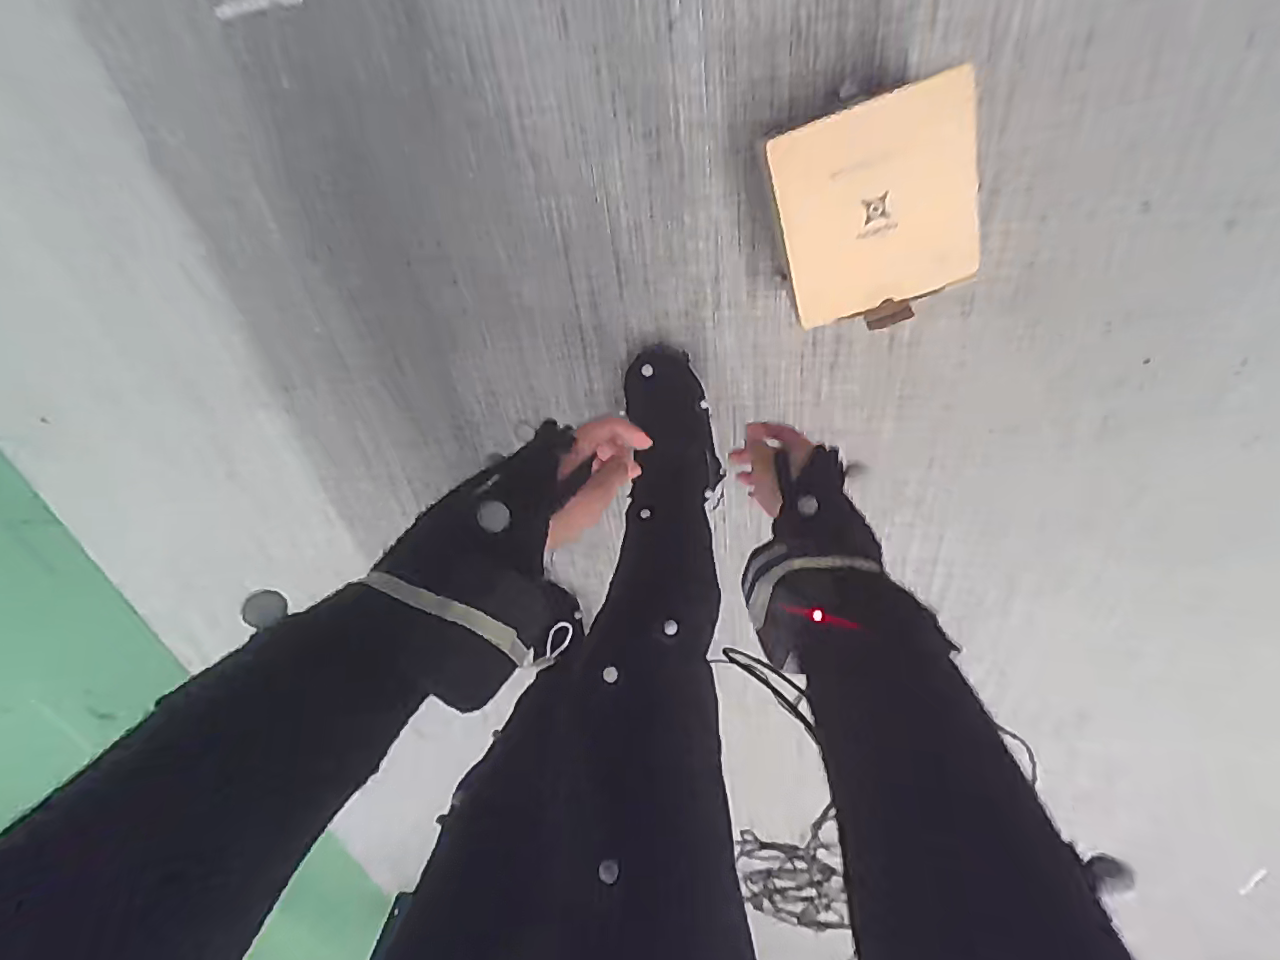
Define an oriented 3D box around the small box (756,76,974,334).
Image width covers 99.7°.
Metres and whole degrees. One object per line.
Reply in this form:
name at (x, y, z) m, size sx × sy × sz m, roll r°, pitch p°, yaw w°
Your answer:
small box at (0.222, -0.278, 0.559) m, size 0.168 × 0.176 × 0.179 m, roll -14°, pitch 118°, yaw 16°
